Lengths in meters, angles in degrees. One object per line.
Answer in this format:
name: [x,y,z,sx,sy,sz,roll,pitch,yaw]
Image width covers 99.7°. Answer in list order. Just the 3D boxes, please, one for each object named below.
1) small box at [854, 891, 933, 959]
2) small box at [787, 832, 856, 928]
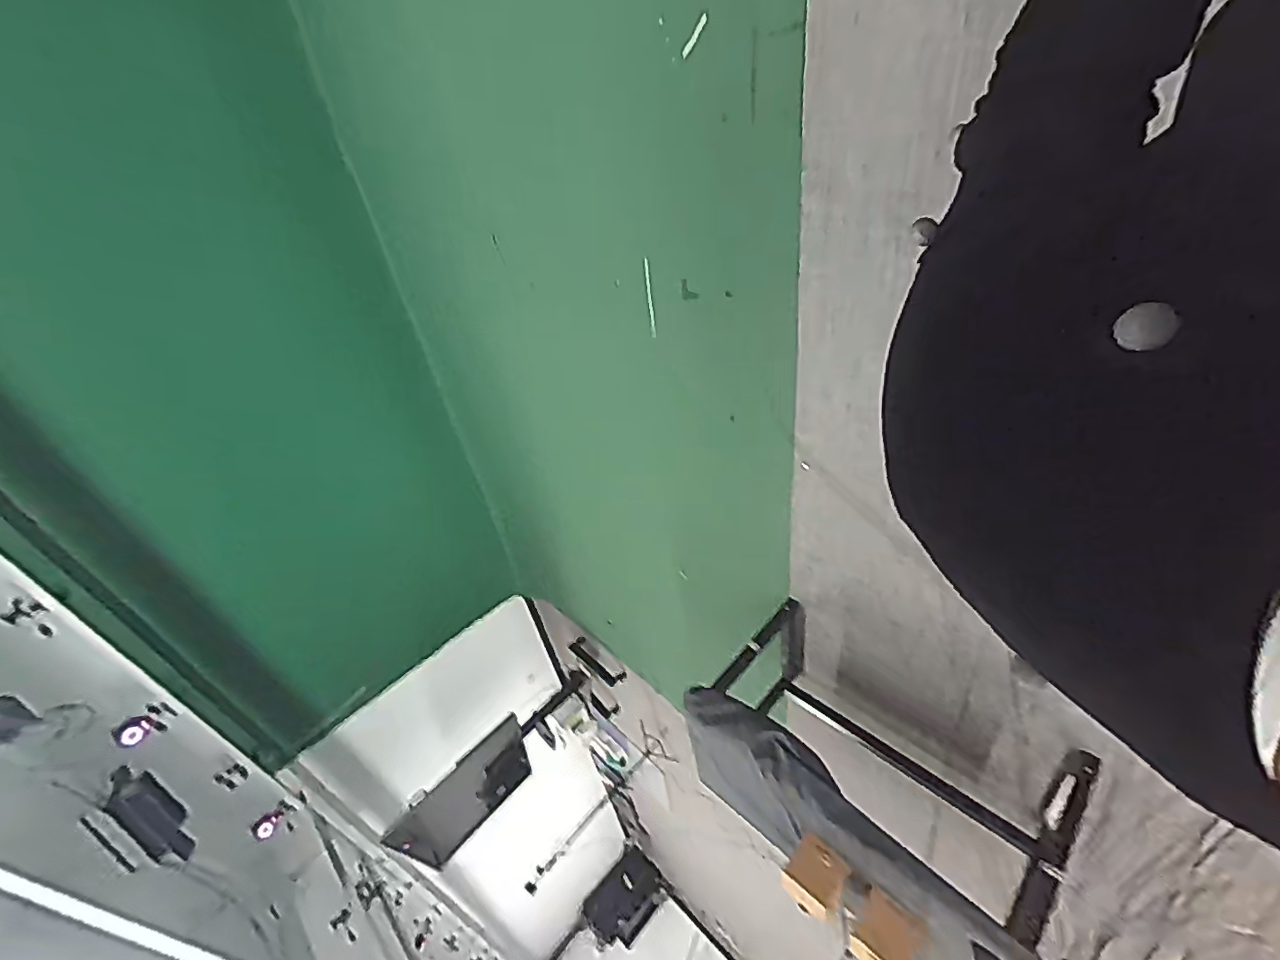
small box: [0.789,1.436,1.682,0.168,0.176,0.179,24,139,40]
small box: [0.619,1.359,1.843,0.168,0.176,0.179,21,136,40]
